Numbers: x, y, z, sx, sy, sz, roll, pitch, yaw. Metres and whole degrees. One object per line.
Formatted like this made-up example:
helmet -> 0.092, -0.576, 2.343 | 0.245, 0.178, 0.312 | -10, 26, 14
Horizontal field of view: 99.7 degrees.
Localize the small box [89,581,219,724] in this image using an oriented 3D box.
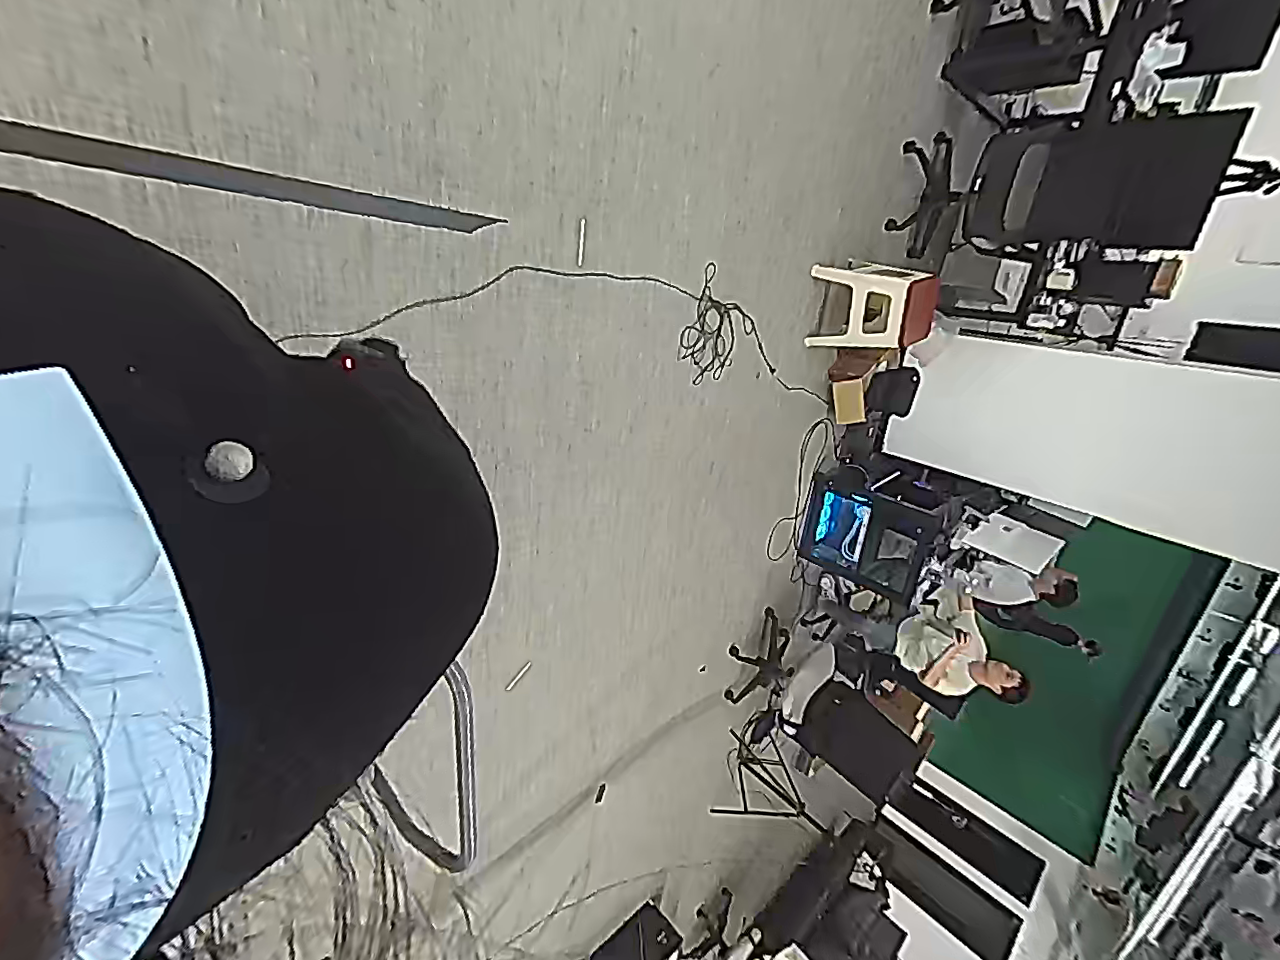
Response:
small box -> -0.937, 0.322, 1.045 | 0.168, 0.176, 0.179 | -10, 115, -44
